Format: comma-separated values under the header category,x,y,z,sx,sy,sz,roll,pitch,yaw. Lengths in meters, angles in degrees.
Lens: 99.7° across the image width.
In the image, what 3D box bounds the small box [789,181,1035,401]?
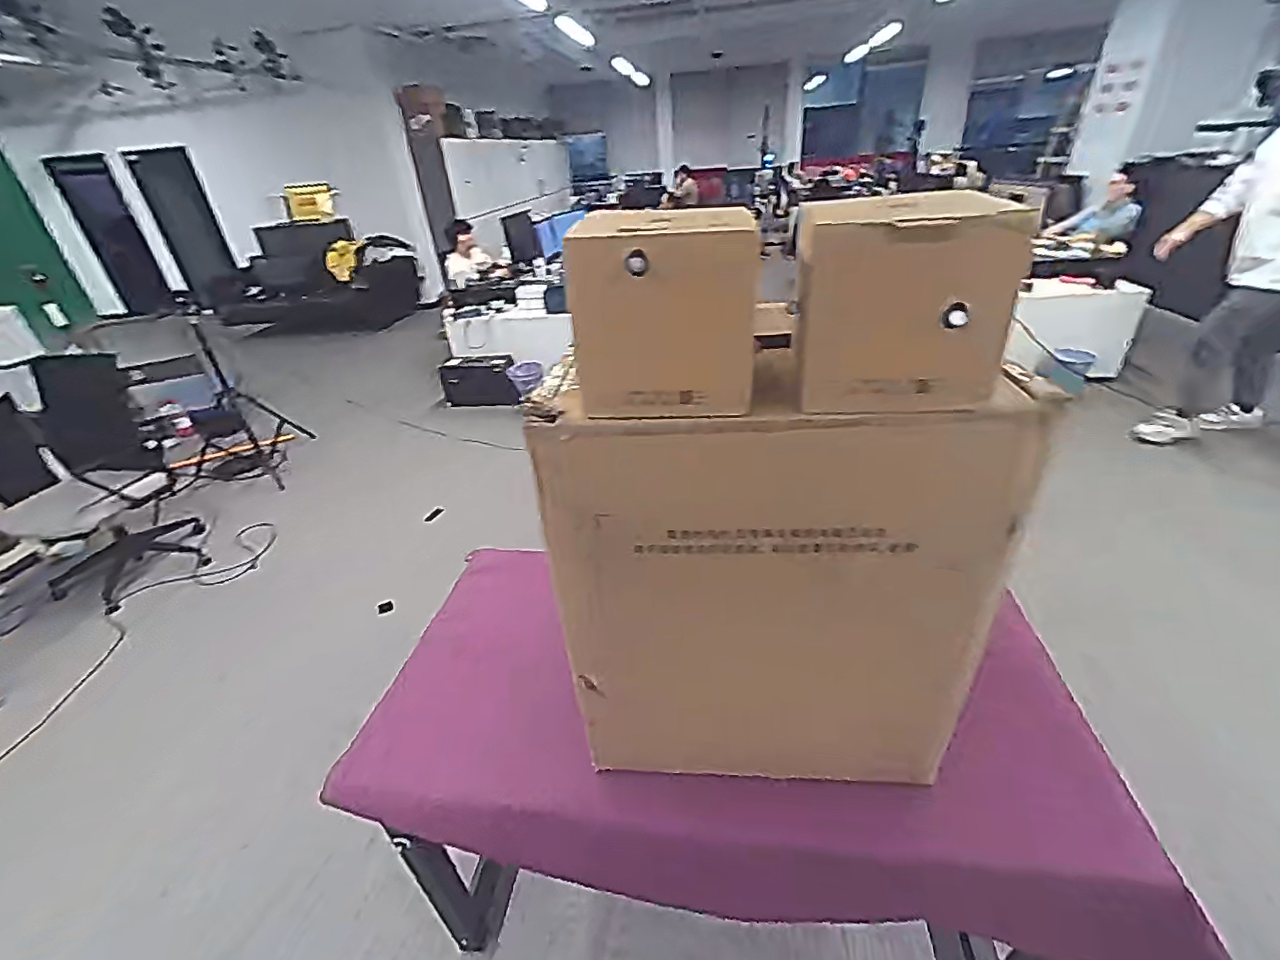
category,x,y,z,sx,sy,sz,roll,pitch,yaw
small box,0.237,-0.183,0.526,0.168,0.176,0.179,1,31,10
